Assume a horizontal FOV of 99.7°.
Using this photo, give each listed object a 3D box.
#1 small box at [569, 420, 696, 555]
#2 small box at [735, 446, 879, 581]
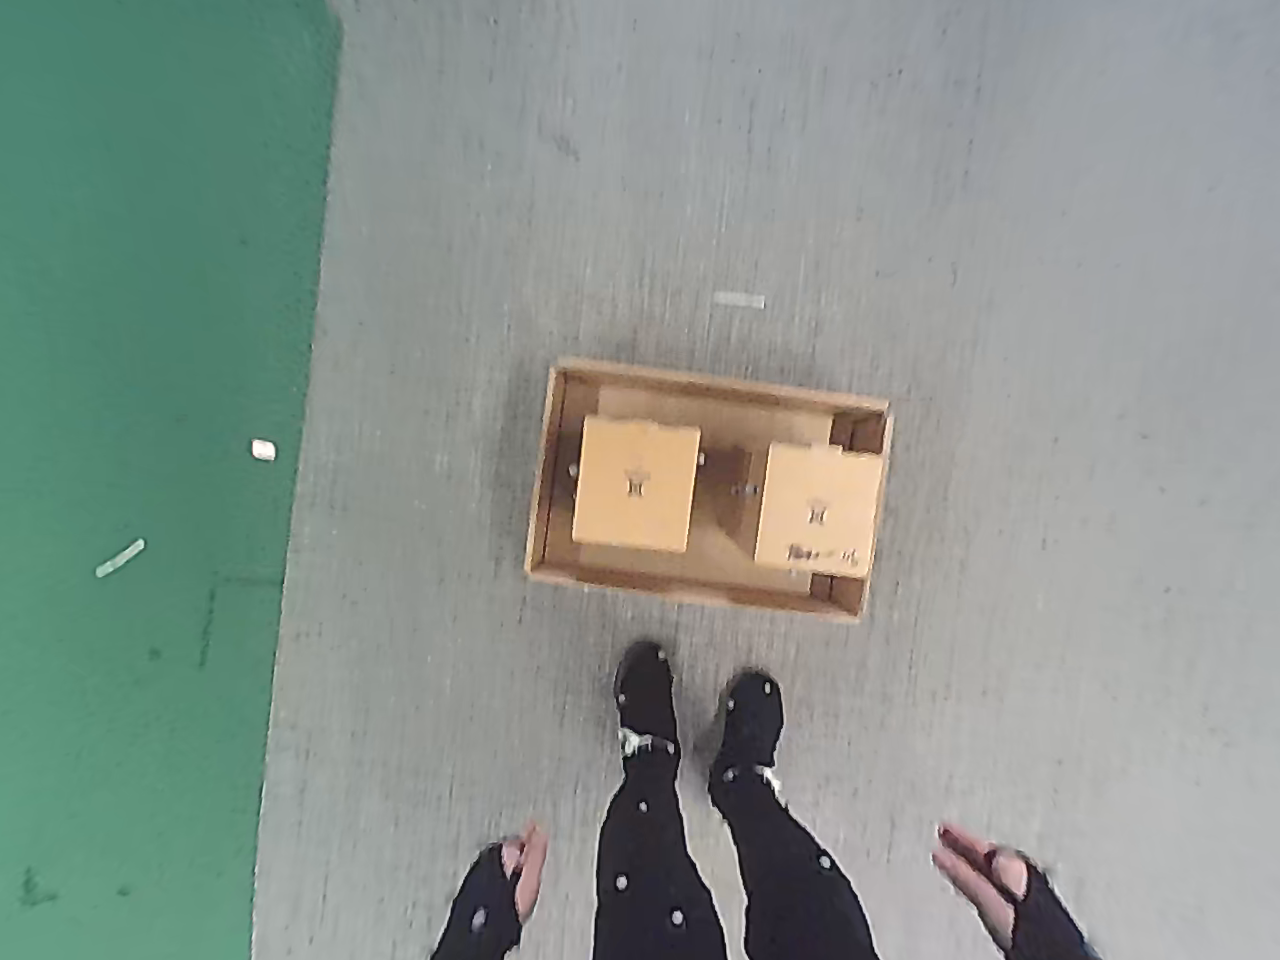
[{"bbox_3d":[-0.012,0.010,0.845,0.168,0.176,0.179,7,90,-2],"label":"small box"},{"bbox_3d":[0.251,0.049,0.850,0.168,0.176,0.179,8,89,1],"label":"small box"}]
